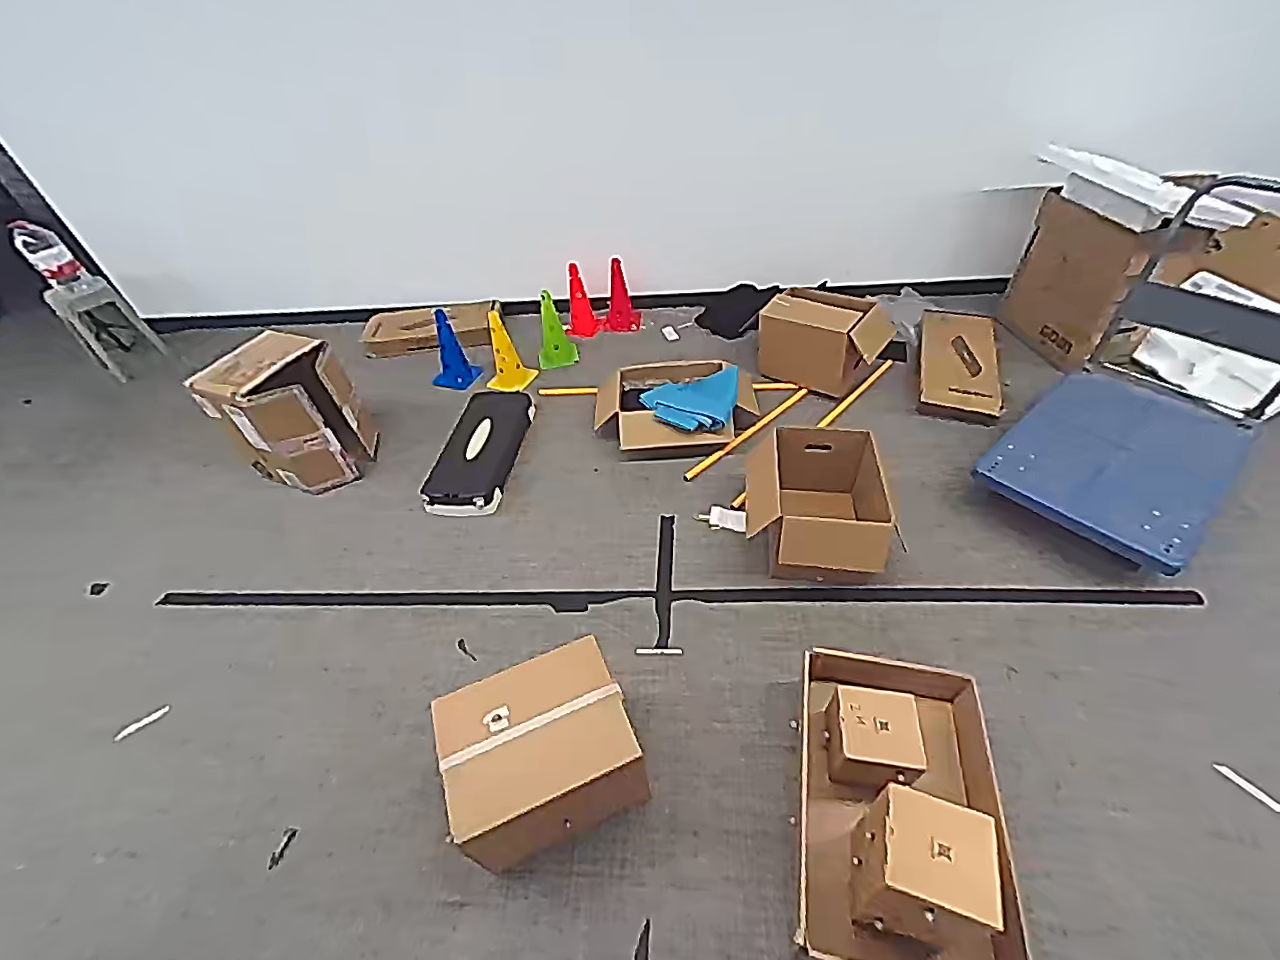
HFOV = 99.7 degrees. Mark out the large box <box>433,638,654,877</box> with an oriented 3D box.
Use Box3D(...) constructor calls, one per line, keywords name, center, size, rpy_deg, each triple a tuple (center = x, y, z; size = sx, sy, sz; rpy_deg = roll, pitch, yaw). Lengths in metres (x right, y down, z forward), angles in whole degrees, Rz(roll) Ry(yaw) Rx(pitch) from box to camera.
Box3D(name="large box", center=(-0.217, 0.653, 1.282), size=(0.408, 0.320, 0.320), rpy_deg=(-21, 46, -13))
